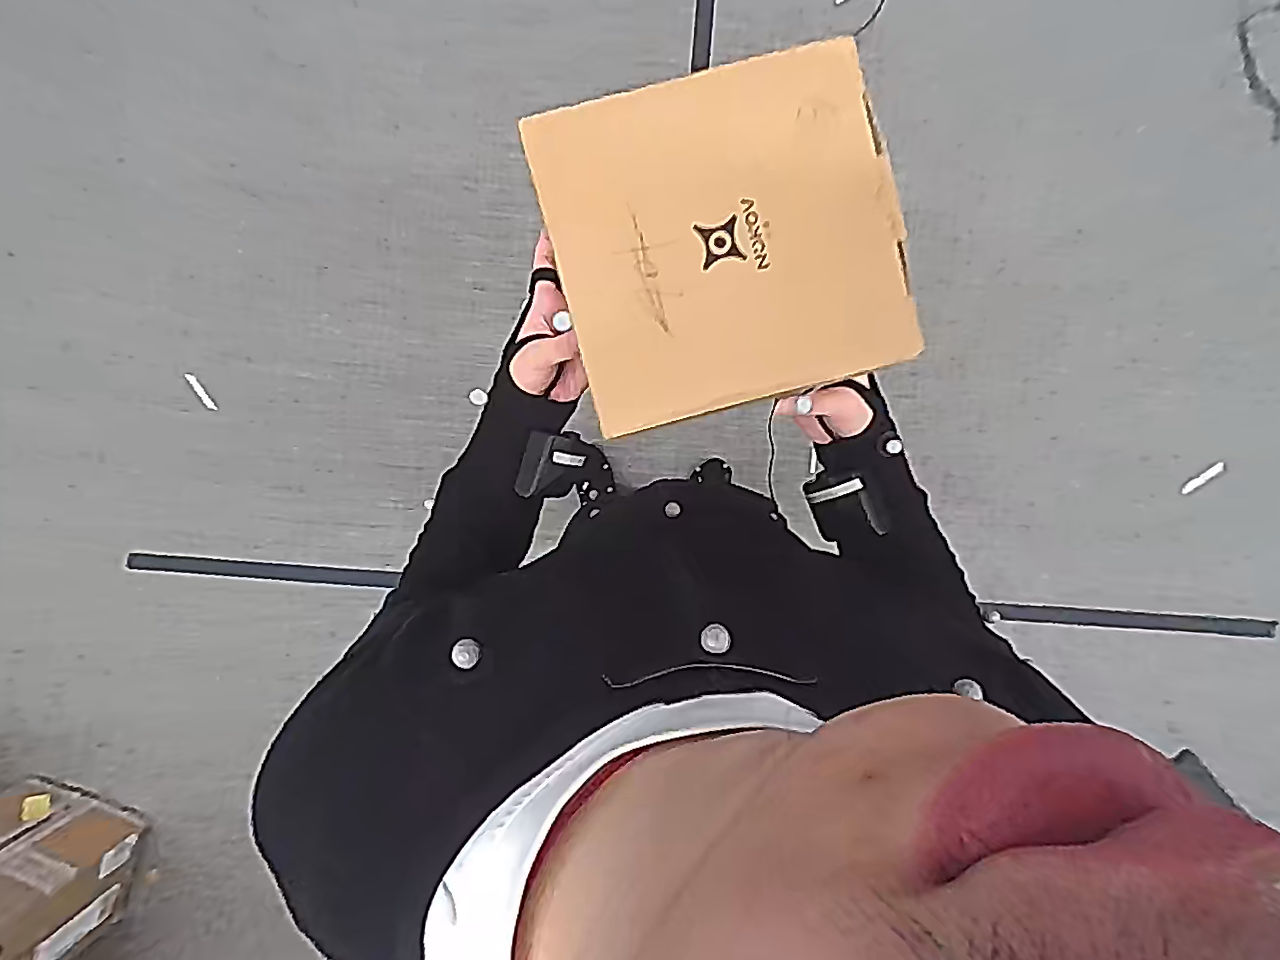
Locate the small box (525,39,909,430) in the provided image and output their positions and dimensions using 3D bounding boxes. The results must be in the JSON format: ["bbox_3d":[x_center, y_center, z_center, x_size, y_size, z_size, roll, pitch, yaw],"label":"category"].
[{"bbox_3d":[0.040,-0.134,0.364,0.179,0.176,0.168,-16,93,-1],"label":"small box"}]
